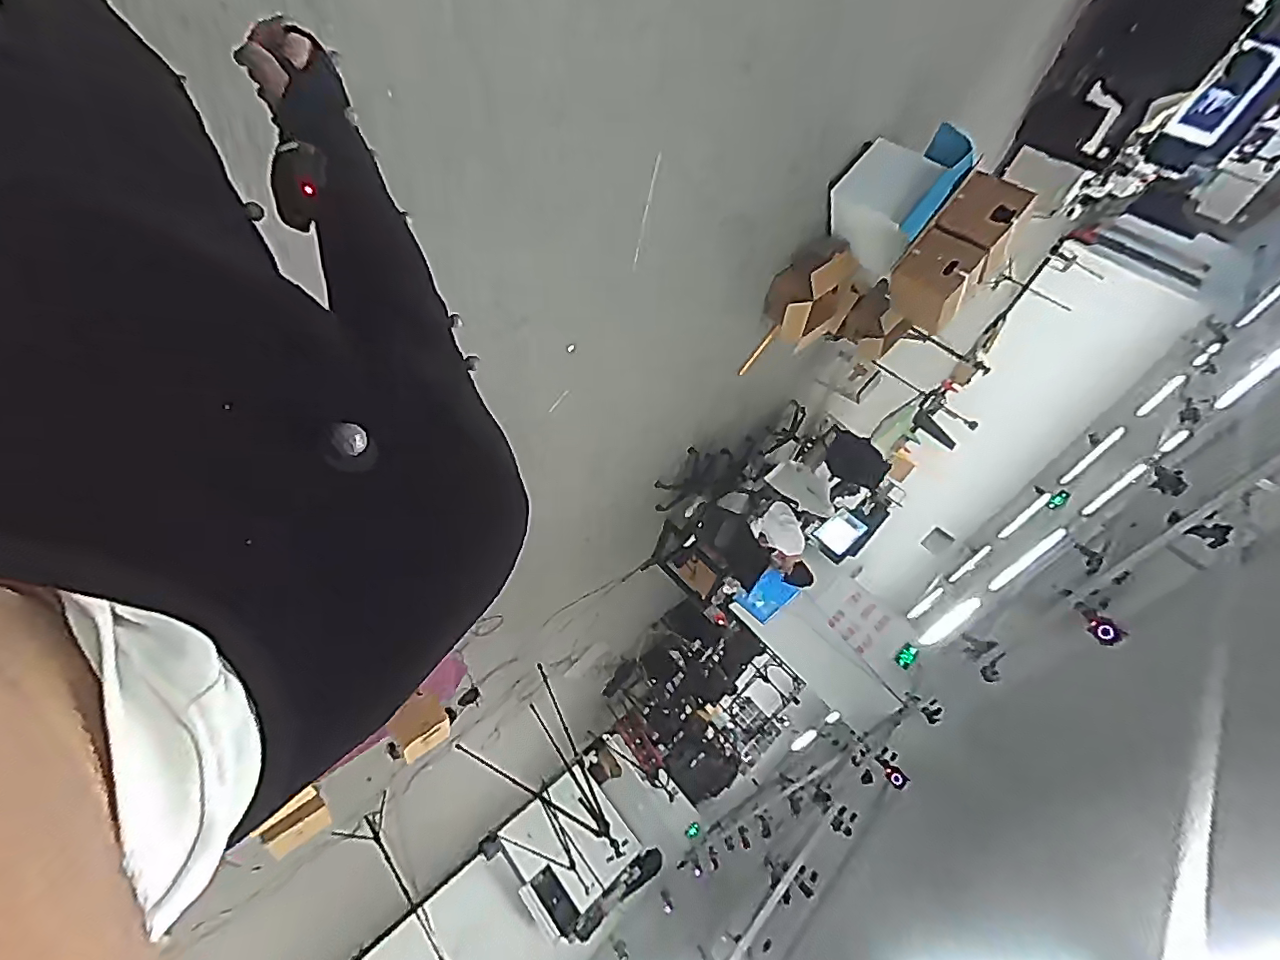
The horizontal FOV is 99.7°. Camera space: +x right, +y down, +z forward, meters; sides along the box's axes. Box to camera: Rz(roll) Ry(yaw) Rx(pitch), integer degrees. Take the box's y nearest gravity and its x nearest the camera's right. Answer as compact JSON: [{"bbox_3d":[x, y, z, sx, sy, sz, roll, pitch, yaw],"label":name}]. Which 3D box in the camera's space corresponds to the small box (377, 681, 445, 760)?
[{"bbox_3d":[-0.807,0.842,1.909,0.168,0.176,0.179,-27,151,-37],"label":"small box"}]

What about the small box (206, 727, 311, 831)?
[{"bbox_3d":[-1.037,0.810,1.474,0.168,0.176,0.179,-29,152,-34],"label":"small box"}]

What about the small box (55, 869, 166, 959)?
[{"bbox_3d":[-1.407,1.176,1.427,0.168,0.176,0.179,-27,147,-38],"label":"small box"}]

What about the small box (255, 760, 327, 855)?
[{"bbox_3d":[-1.107,1.012,1.682,0.168,0.176,0.179,-25,149,-39],"label":"small box"}]
